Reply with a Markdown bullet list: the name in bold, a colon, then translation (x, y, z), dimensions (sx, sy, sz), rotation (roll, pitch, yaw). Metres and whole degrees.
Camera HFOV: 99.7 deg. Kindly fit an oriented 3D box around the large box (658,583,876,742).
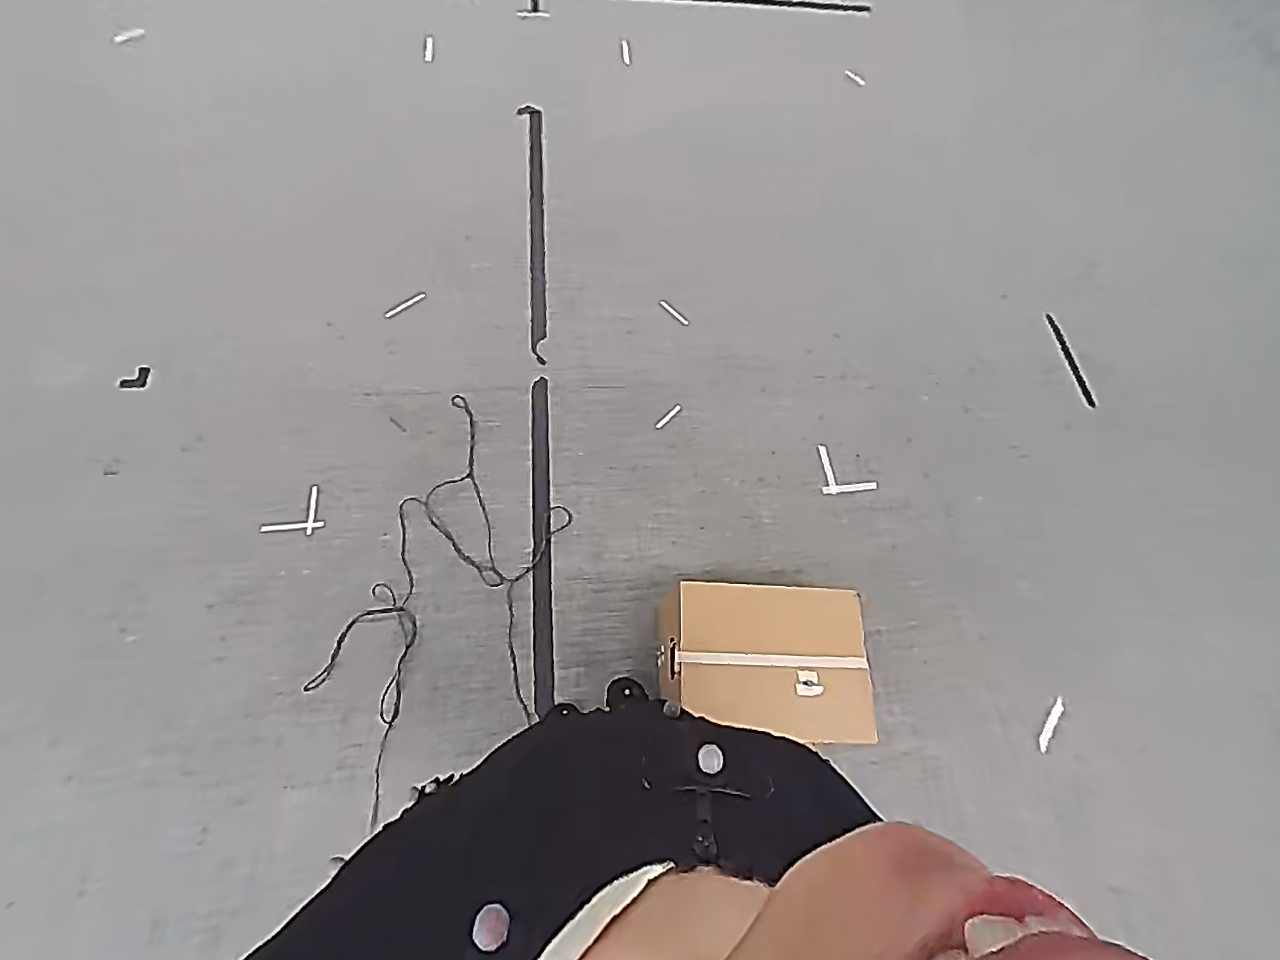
- **large box**: translation (0.264, 0.431, 1.265), dimensions (0.408, 0.320, 0.320), rotation (3, 68, -6)
